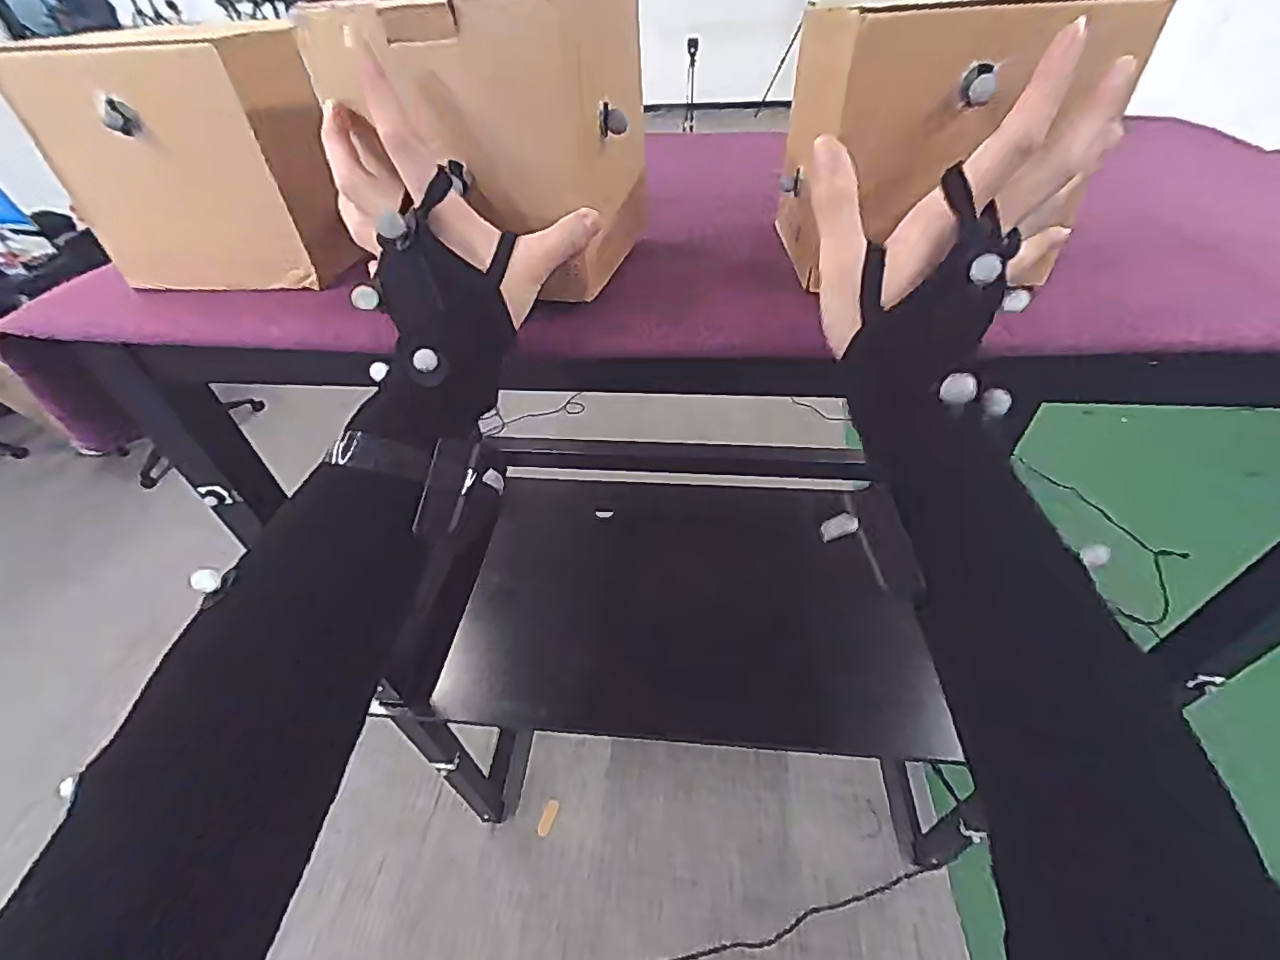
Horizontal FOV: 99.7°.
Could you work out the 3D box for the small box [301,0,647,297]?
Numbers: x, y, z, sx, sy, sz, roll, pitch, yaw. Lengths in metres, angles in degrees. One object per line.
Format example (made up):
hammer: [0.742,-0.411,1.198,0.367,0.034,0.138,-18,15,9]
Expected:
small box: [-0.094,-0.251,0.409,0.168,0.176,0.179,6,43,13]

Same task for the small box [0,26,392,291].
small box: [-0.338,-0.275,0.465,0.179,0.176,0.168,3,43,4]

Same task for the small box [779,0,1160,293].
small box: [0.217,-0.259,0.422,0.179,0.176,0.168,-1,42,3]
